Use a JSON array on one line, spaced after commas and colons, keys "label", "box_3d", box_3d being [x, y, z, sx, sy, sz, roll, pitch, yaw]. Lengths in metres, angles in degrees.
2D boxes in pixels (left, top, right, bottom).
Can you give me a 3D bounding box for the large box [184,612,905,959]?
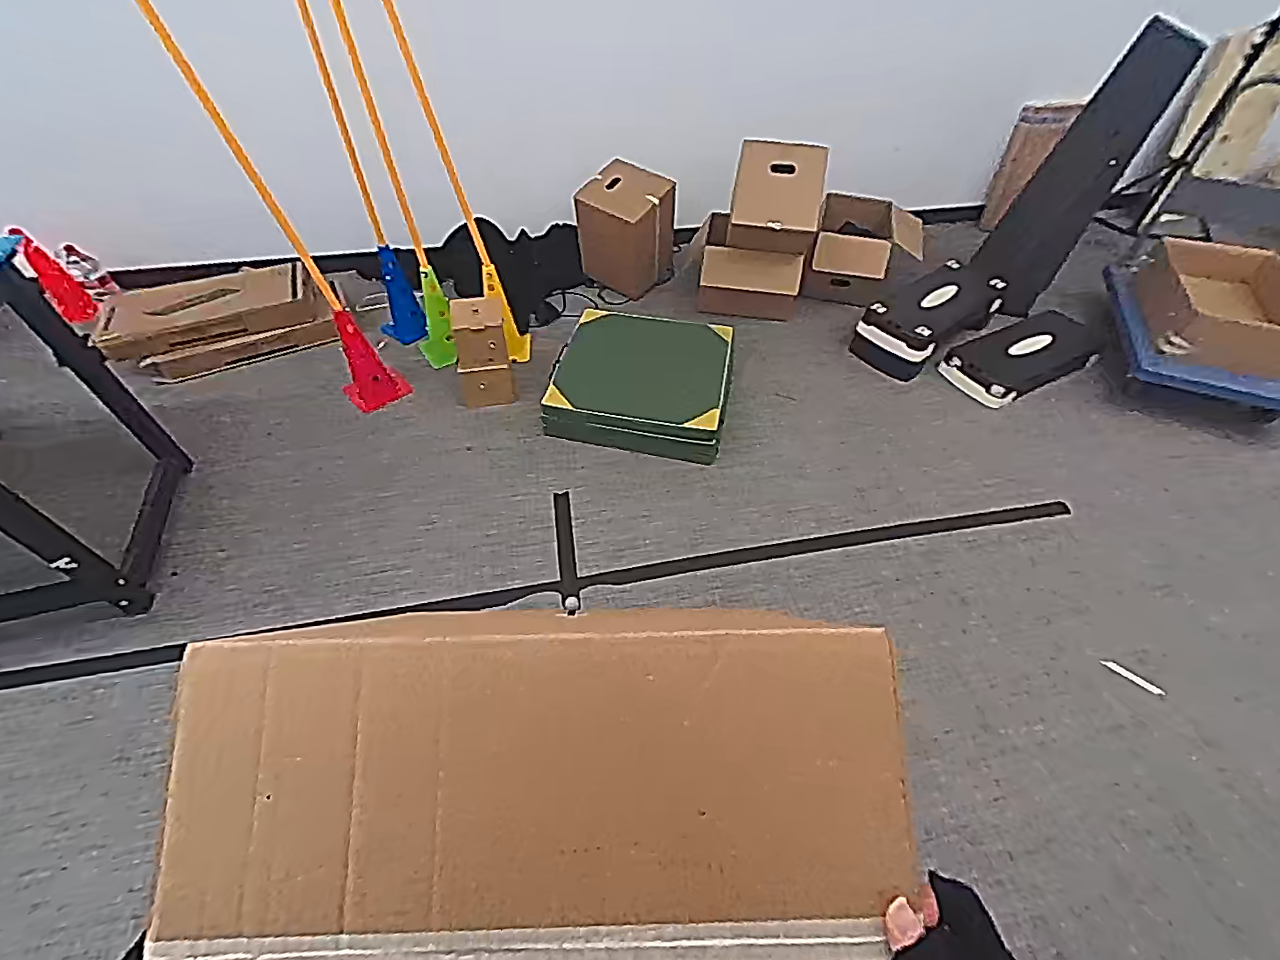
[{"label": "large box", "box_3d": [-0.051, 0.282, 0.444, 0.408, 0.320, 0.320, -1, 79, -1]}]
